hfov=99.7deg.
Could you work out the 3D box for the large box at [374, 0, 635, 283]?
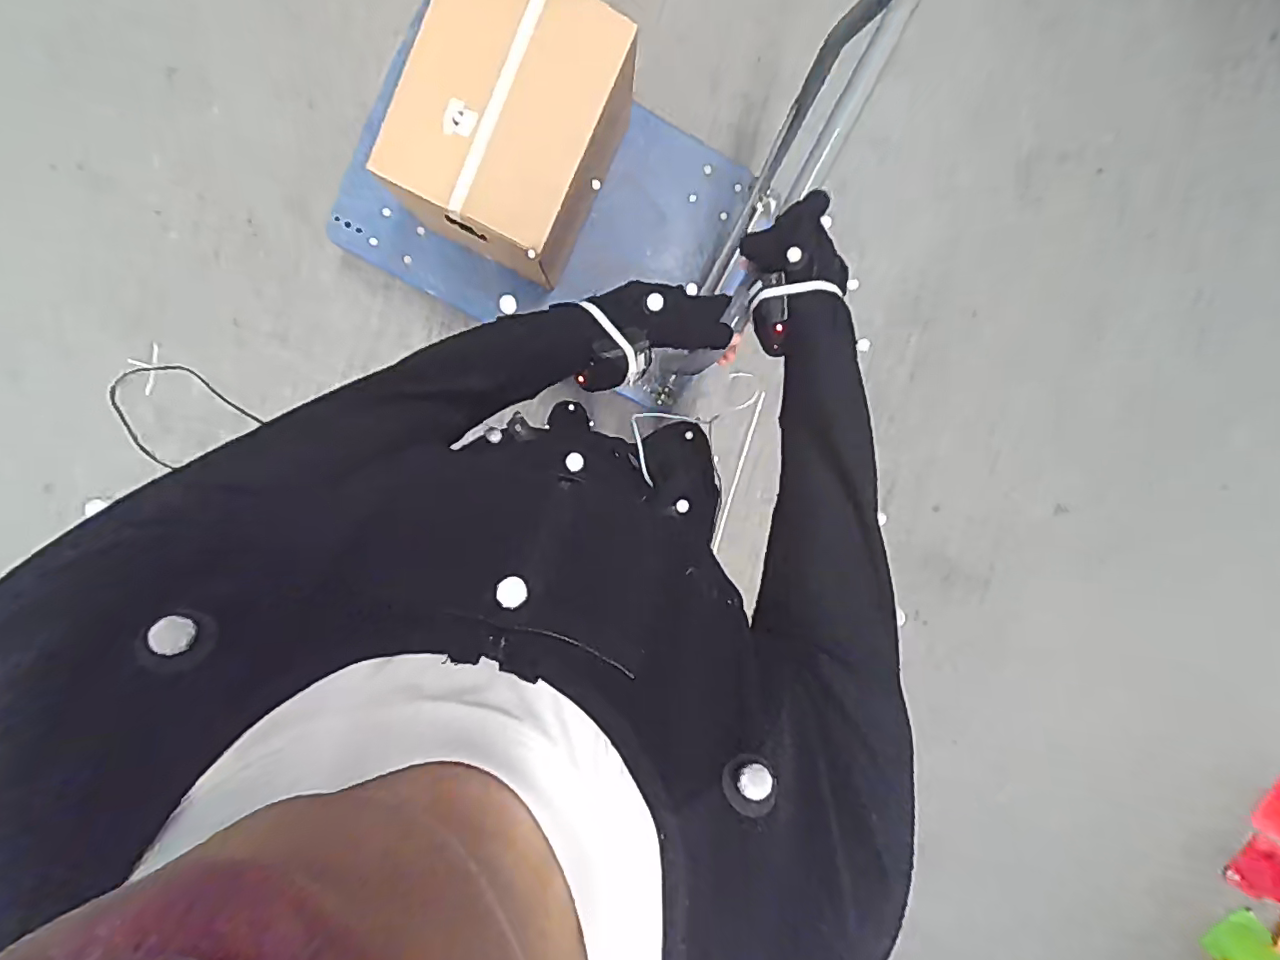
[{"bbox_3d":[-0.235,-0.657,1.038,0.320,0.320,0.408,25,97,-6],"label":"large box"}]
